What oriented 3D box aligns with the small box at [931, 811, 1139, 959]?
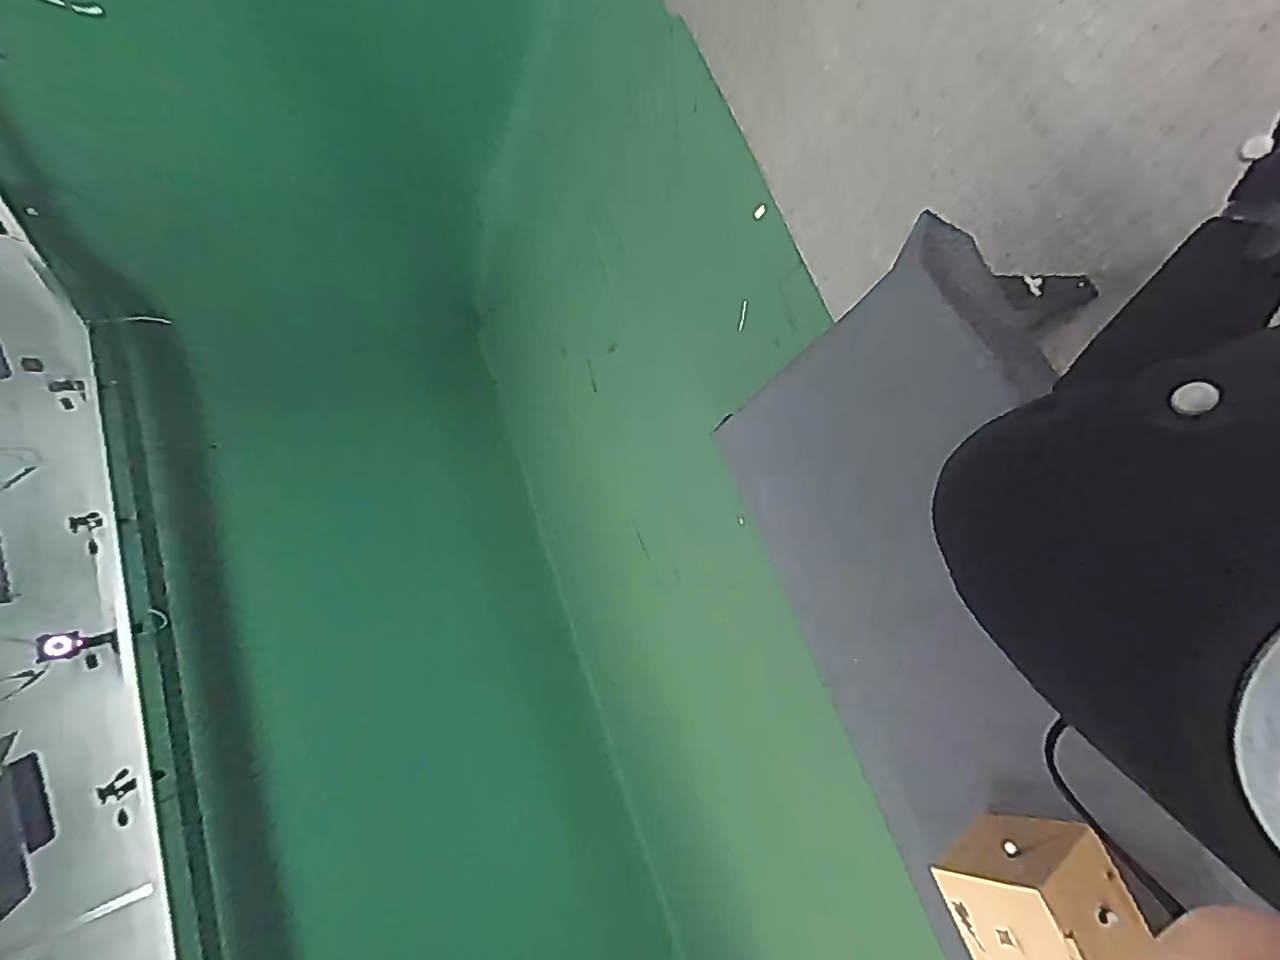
[{"bbox_3d":[0.589,0.622,0.805,0.179,0.176,0.168,-44,63,53],"label":"small box"}]
